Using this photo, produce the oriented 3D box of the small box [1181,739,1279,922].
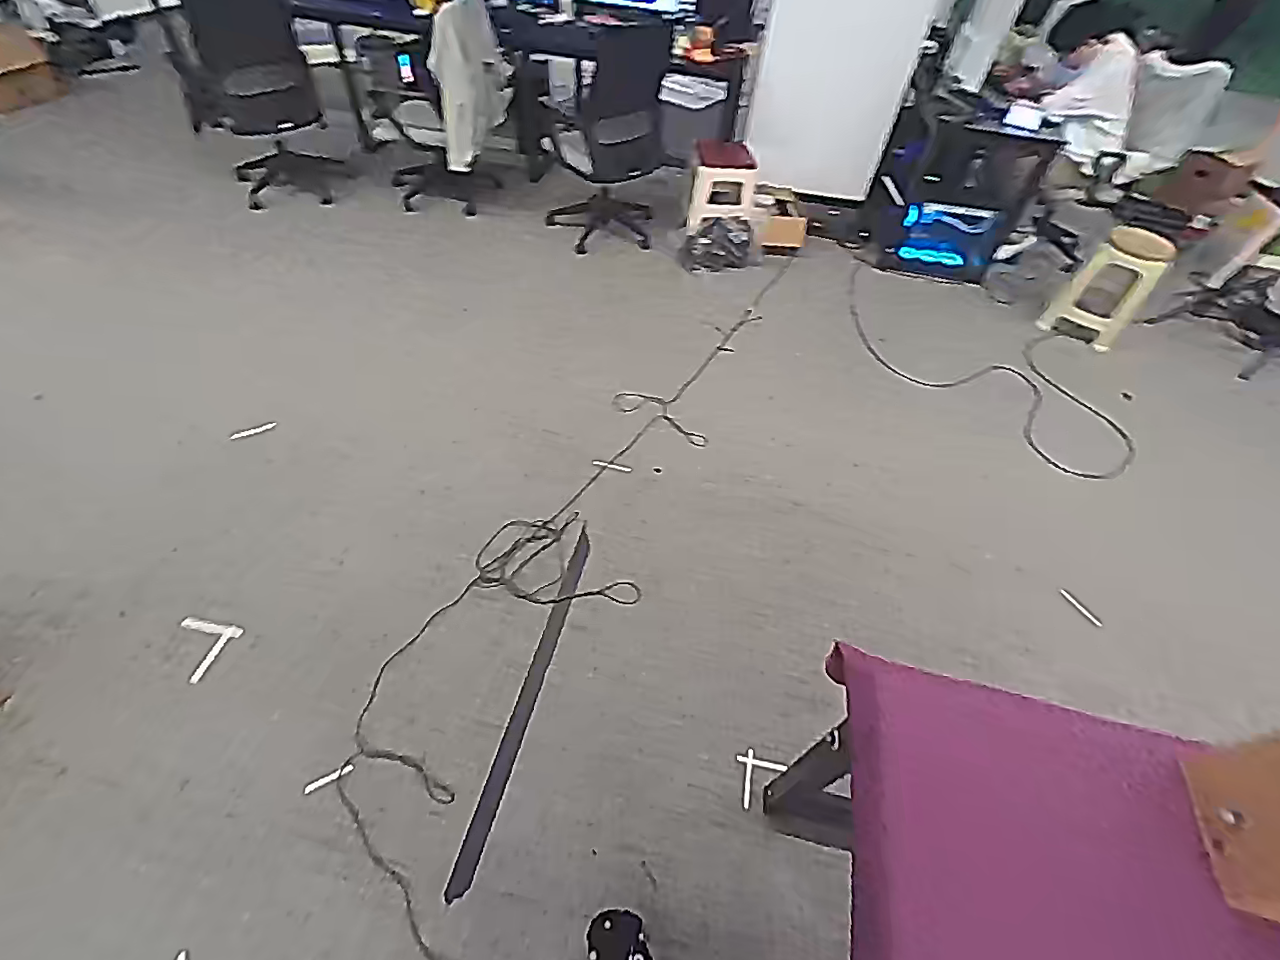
[{"bbox_3d":[0.805,0.419,0.623,0.179,0.176,0.168,14,50,9],"label":"small box"}]
